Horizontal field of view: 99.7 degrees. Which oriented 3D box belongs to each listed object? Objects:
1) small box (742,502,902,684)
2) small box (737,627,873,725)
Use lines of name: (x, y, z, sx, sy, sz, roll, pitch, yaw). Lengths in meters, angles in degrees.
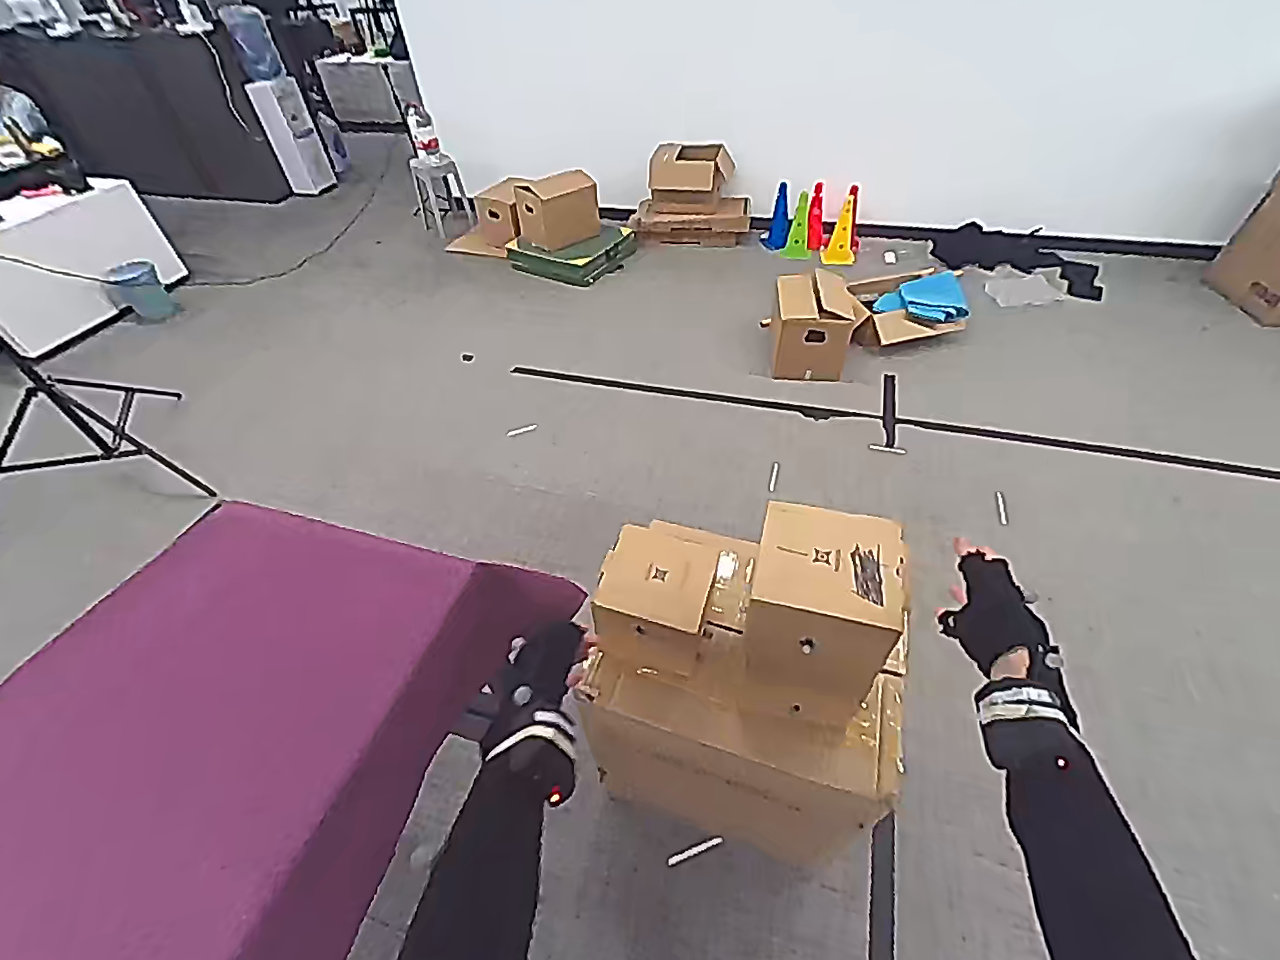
small box: (0.244, 0.157, 0.742, 0.179, 0.176, 0.168, 9, 48, 15)
small box: (0.255, 0.270, 0.862, 0.179, 0.176, 0.168, 6, 47, 11)
